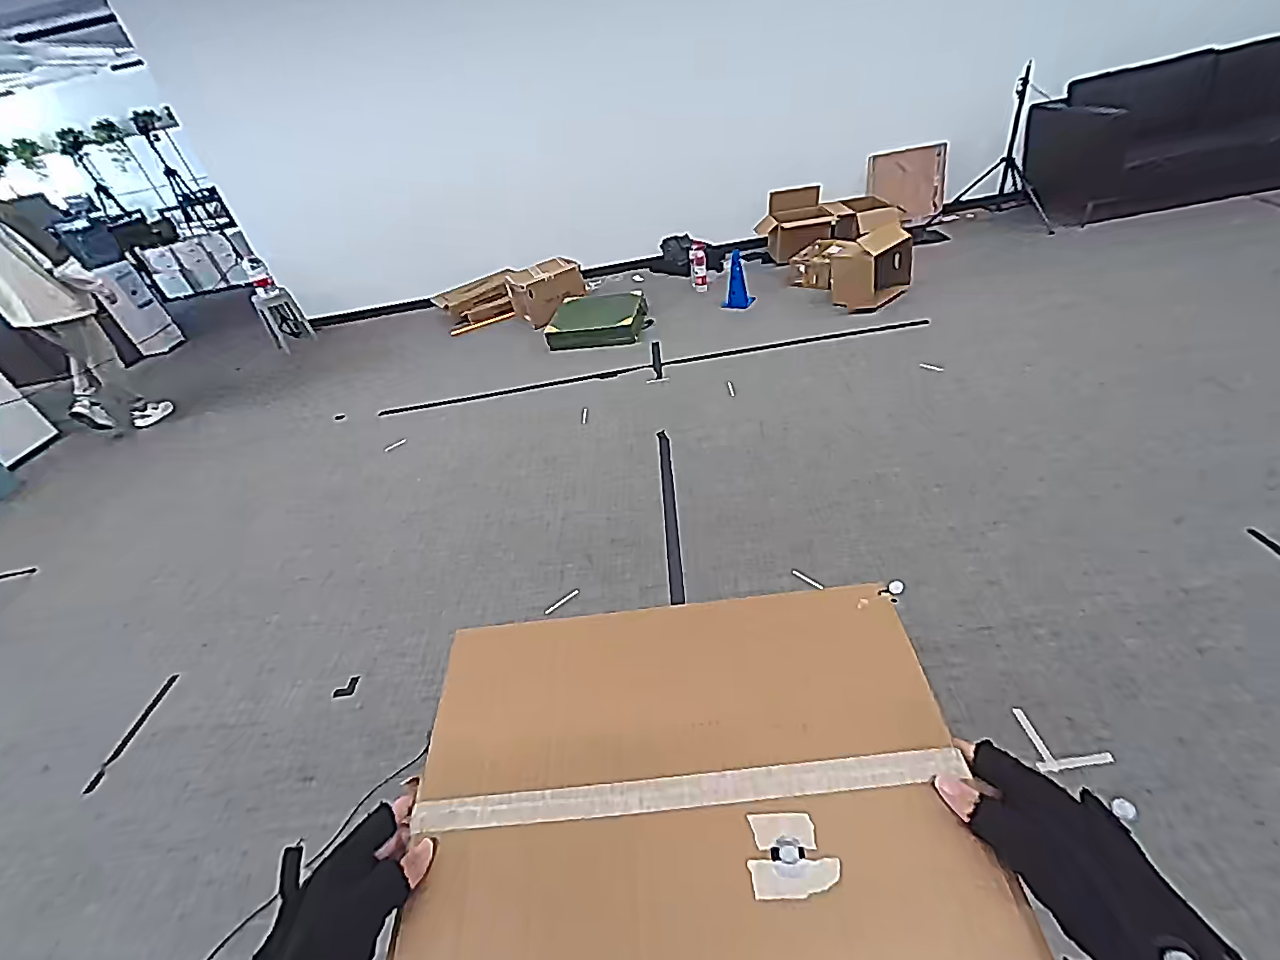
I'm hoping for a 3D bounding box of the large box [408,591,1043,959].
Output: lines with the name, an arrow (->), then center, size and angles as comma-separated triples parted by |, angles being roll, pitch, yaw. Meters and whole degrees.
large box -> 0.054, 0.342, 0.511 | 0.408, 0.320, 0.320 | -7, 45, 2
